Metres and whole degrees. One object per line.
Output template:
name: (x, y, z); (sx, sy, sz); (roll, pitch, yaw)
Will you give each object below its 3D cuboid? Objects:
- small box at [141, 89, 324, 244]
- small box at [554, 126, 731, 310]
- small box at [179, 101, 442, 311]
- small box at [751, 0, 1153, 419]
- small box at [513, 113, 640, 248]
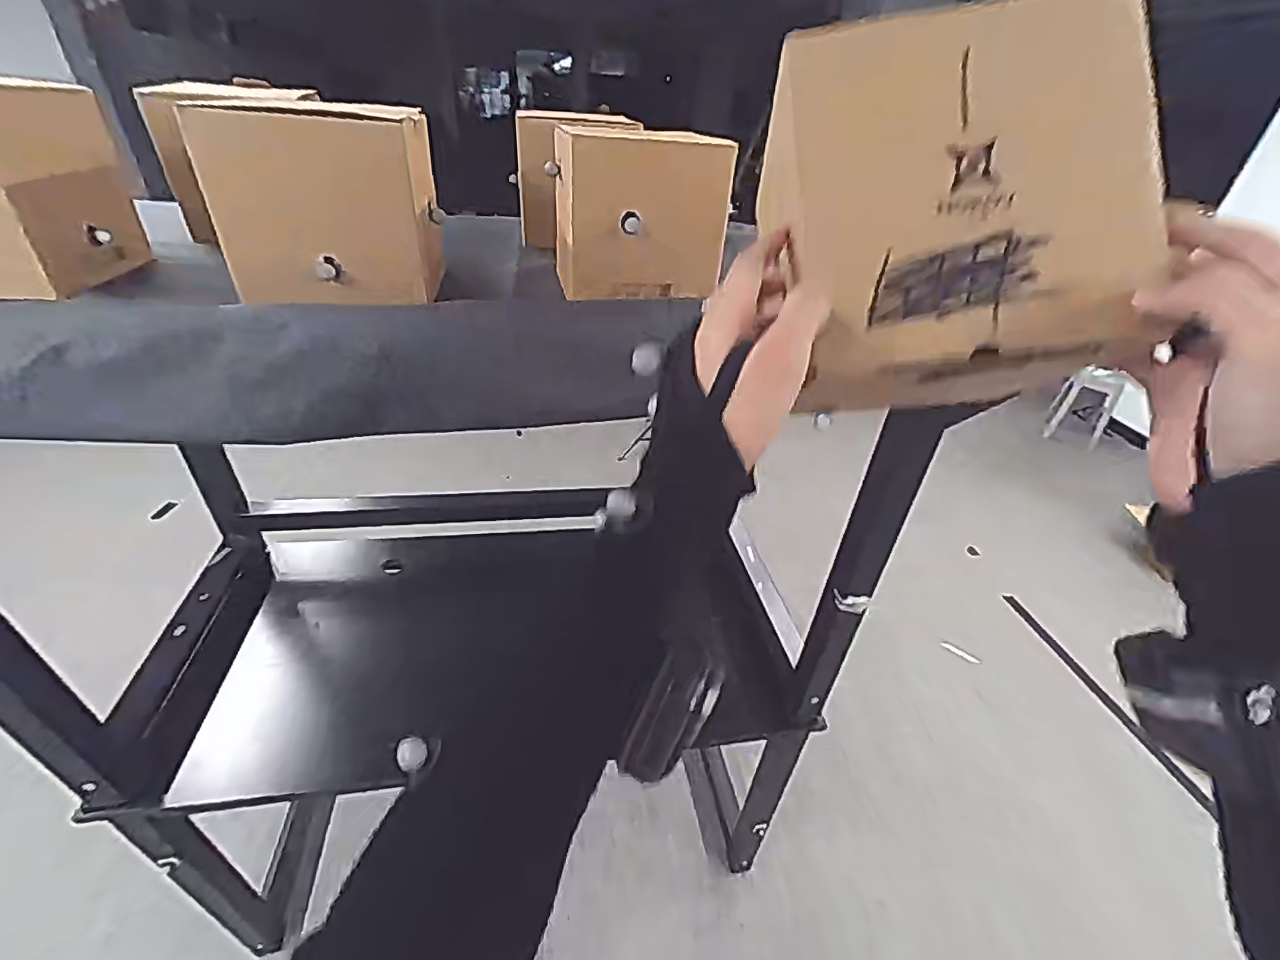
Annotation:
small box: (-0.522, -0.430, 0.749); (0.168, 0.176, 0.179); (-8, 37, -15)
small box: (-0.008, -0.302, 0.624); (0.168, 0.176, 0.179); (-4, 35, -12)
small box: (-0.311, -0.282, 0.563); (0.179, 0.176, 0.168); (-3, 35, -12)
small box: (0.163, -0.135, 0.343); (0.168, 0.179, 0.176); (-5, -2, 8)
small box: (-0.100, -0.465, 0.843); (0.179, 0.176, 0.168); (-3, 37, -10)
